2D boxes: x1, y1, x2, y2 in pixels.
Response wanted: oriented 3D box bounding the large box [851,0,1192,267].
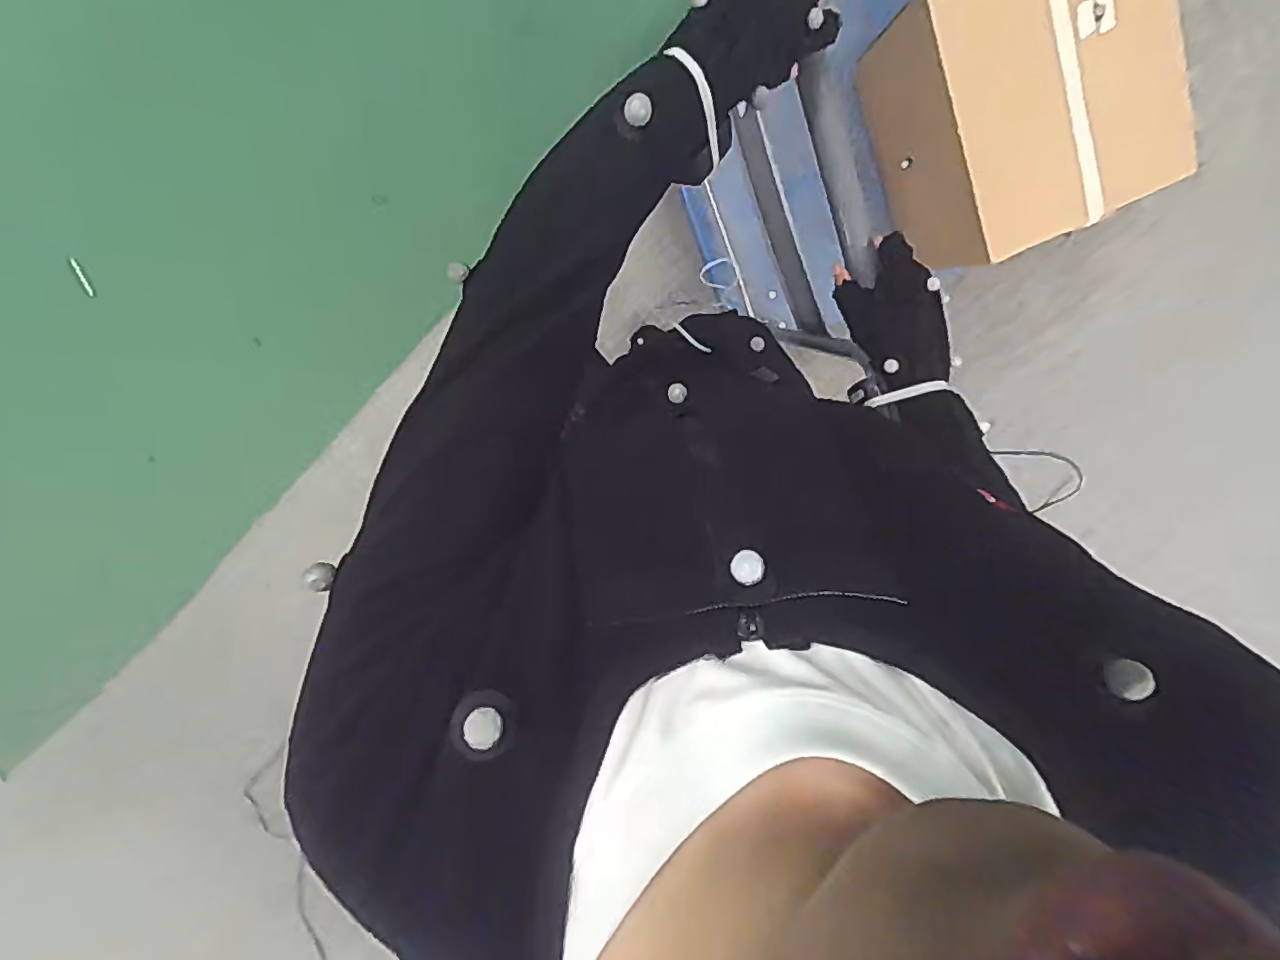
[{"bbox_3d":[0.620,-0.635,0.934,0.320,0.320,0.408,-24,106,9],"label":"large box"}]
